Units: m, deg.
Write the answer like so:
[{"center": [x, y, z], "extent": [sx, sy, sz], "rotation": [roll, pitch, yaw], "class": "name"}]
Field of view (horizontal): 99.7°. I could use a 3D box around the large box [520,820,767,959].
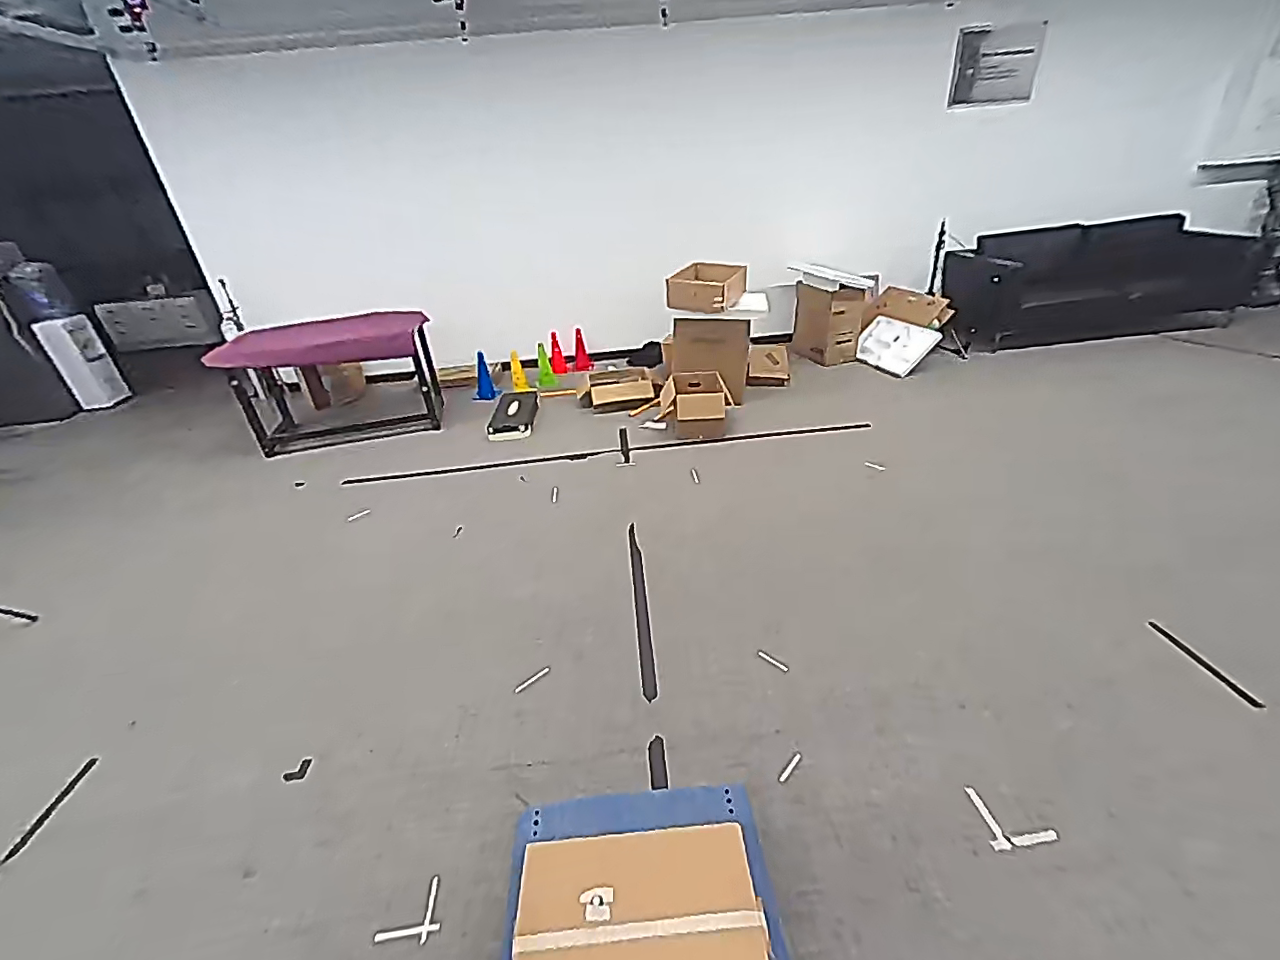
[{"center": [0.014, 0.875, 0.971], "extent": [0.408, 0.320, 0.320], "rotation": [-7, 29, -1], "class": "large box"}]
